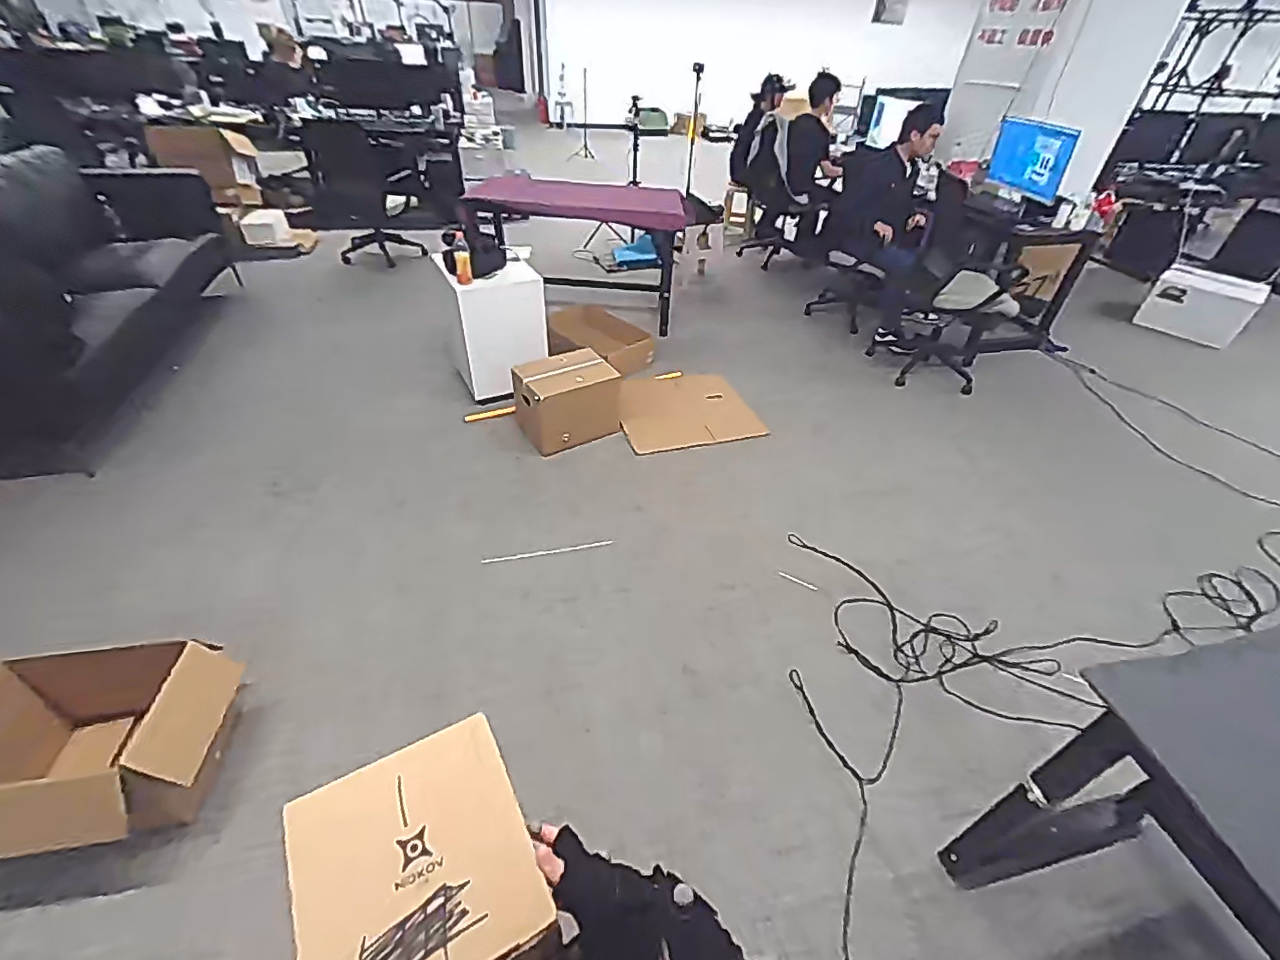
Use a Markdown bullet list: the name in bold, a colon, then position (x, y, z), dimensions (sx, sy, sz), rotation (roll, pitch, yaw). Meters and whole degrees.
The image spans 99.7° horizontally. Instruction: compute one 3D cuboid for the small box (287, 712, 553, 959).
- **small box**: position (-0.182, 0.349, 0.475), dimensions (0.168, 0.176, 0.179), rotation (-18, 48, -24)
